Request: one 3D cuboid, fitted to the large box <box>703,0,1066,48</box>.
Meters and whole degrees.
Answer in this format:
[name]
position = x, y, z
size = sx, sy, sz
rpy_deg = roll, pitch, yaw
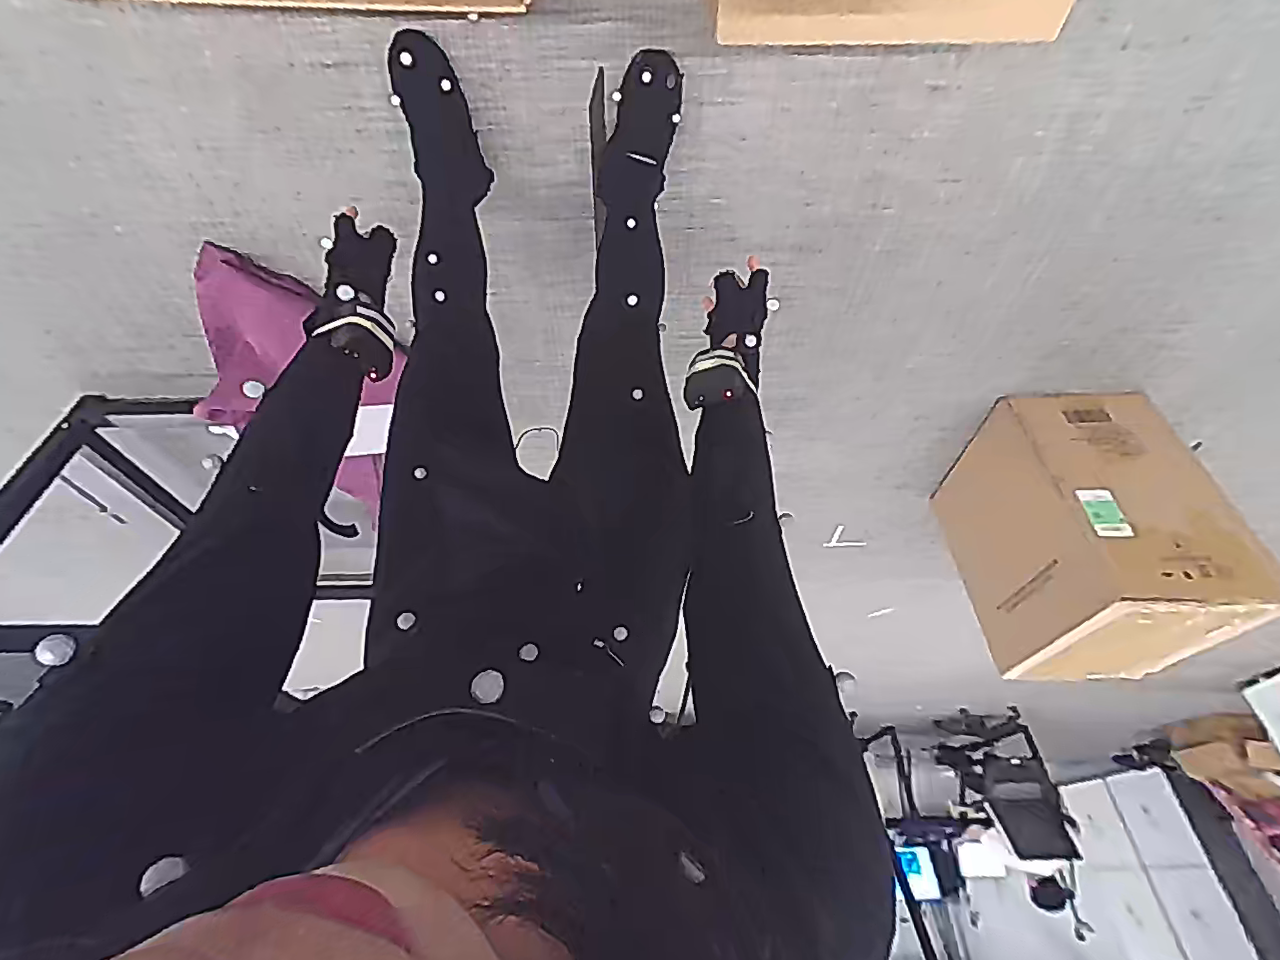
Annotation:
[large box]
position = 0.281, -0.733, 0.612
size = 0.408, 0.320, 0.320
rpy_deg = -2, 144, -1
